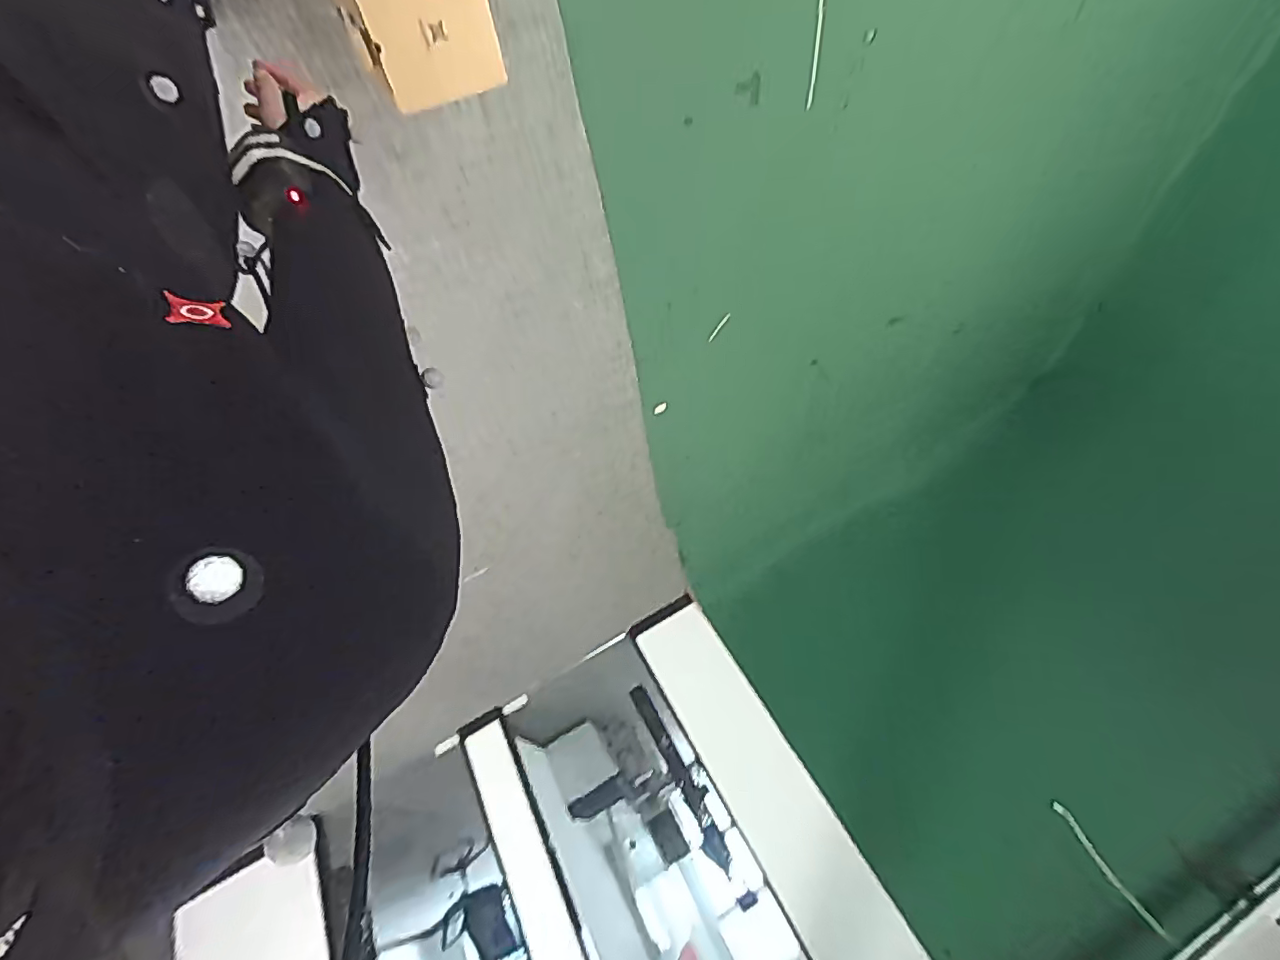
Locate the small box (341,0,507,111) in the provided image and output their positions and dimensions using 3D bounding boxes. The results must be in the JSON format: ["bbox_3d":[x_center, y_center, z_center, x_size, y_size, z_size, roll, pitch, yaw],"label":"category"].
[{"bbox_3d":[-0.323,-0.679,0.785,0.179,0.176,0.168,-27,147,-11],"label":"small box"}]
